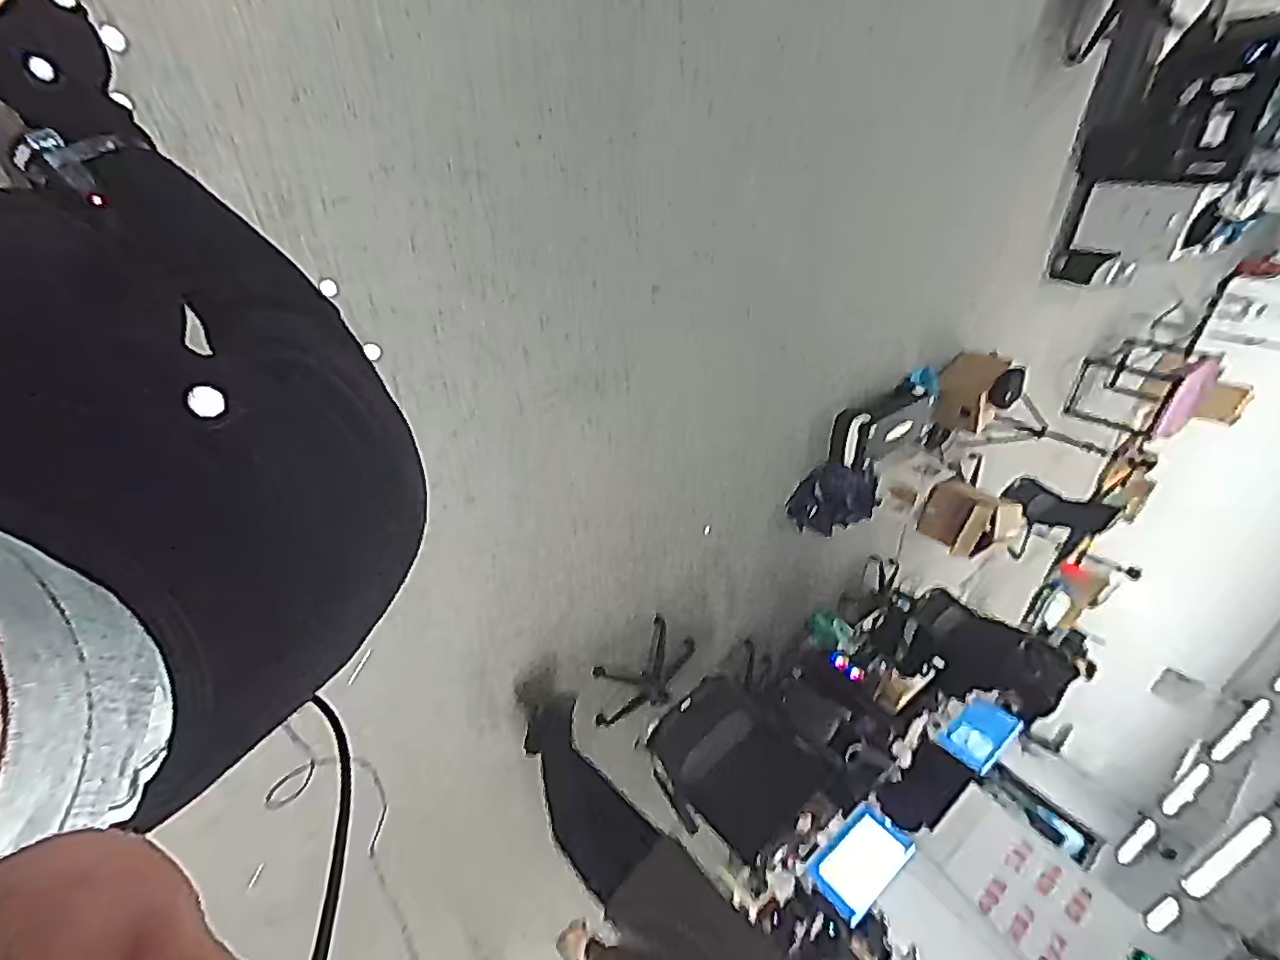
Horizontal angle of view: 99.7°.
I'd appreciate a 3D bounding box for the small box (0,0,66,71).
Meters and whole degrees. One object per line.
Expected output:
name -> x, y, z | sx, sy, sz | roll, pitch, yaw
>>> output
small box -> -0.605, -0.450, 0.414 | 0.168, 0.176, 0.179 | -16, 111, -28
